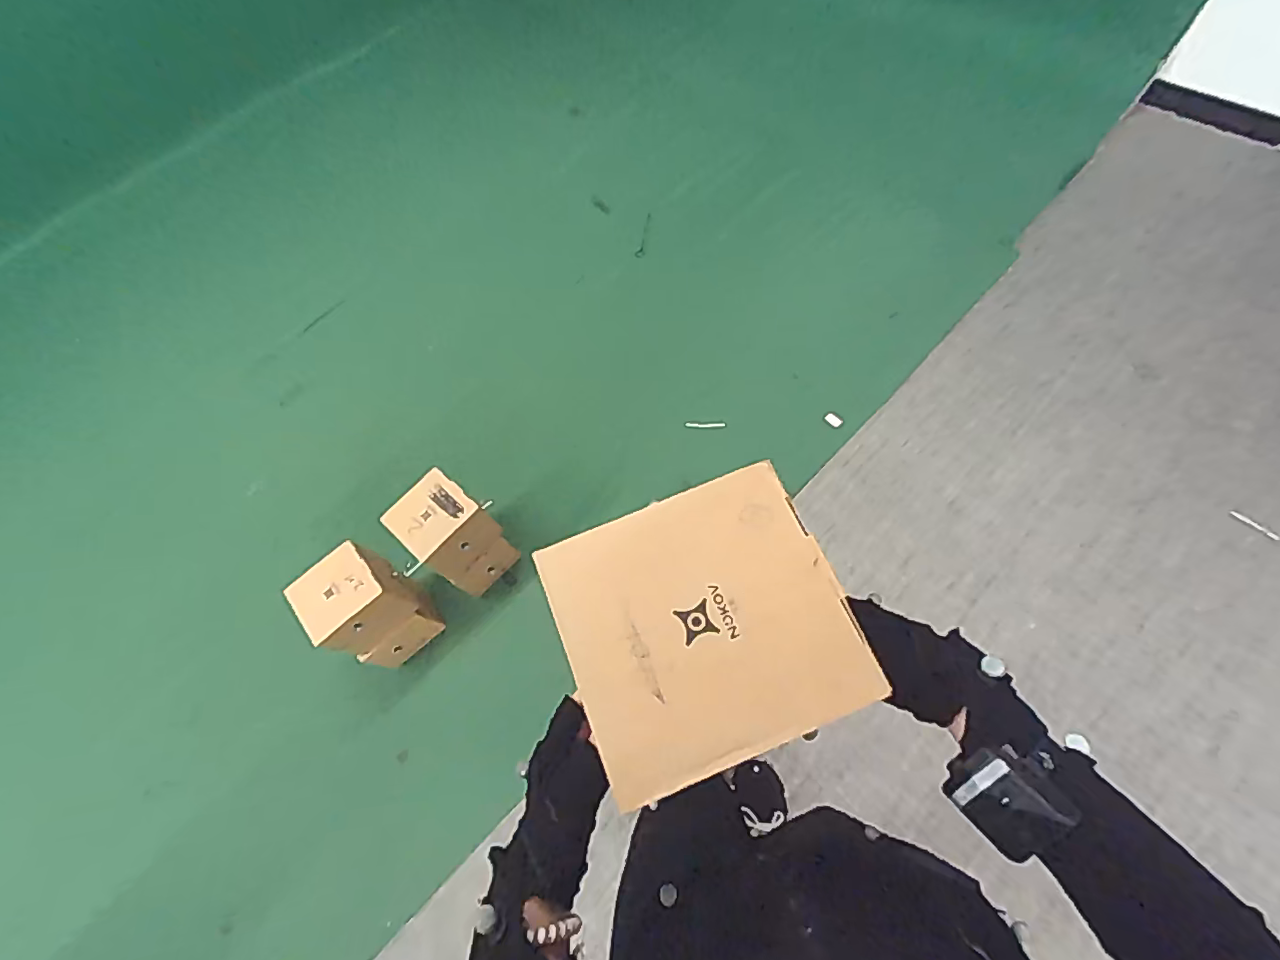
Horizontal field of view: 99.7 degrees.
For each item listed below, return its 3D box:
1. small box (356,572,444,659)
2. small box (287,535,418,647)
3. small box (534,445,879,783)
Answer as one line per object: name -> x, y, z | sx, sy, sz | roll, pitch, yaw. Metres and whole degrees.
small box -> -0.642, 0.346, 1.400 | 0.168, 0.176, 0.179 | -39, 67, -11
small box -> -0.660, 0.265, 1.257 | 0.179, 0.176, 0.168 | -40, 67, -11
small box -> 0.040, 0.102, 0.417 | 0.179, 0.176, 0.168 | -21, 69, -4
